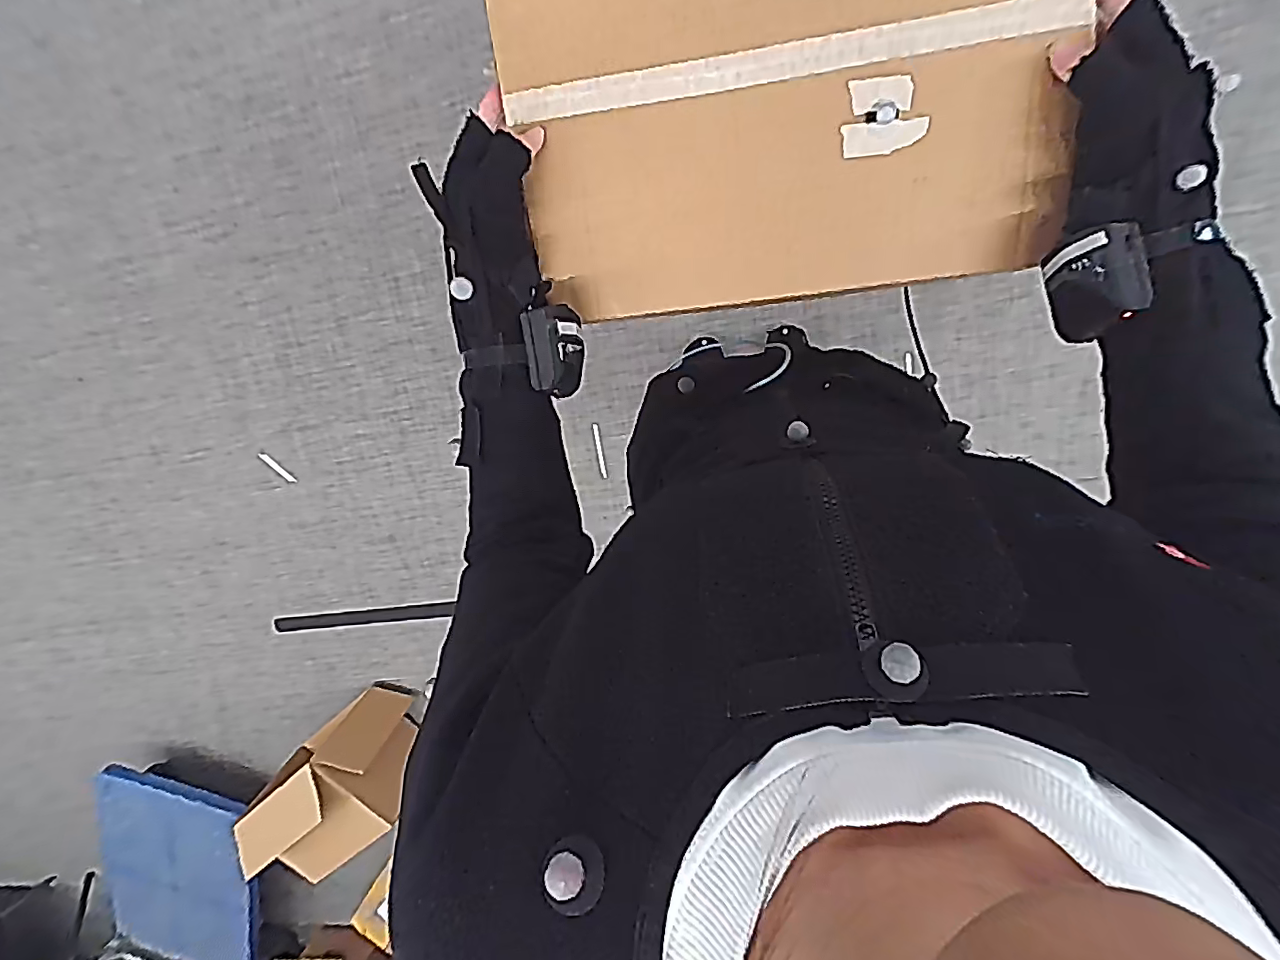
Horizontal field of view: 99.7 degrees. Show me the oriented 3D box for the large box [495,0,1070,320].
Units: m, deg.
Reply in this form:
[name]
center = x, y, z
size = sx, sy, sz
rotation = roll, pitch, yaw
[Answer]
[large box]
center = 0.109, -0.345, 0.535
size = 0.408, 0.320, 0.320
rotation = -6, 107, 6
